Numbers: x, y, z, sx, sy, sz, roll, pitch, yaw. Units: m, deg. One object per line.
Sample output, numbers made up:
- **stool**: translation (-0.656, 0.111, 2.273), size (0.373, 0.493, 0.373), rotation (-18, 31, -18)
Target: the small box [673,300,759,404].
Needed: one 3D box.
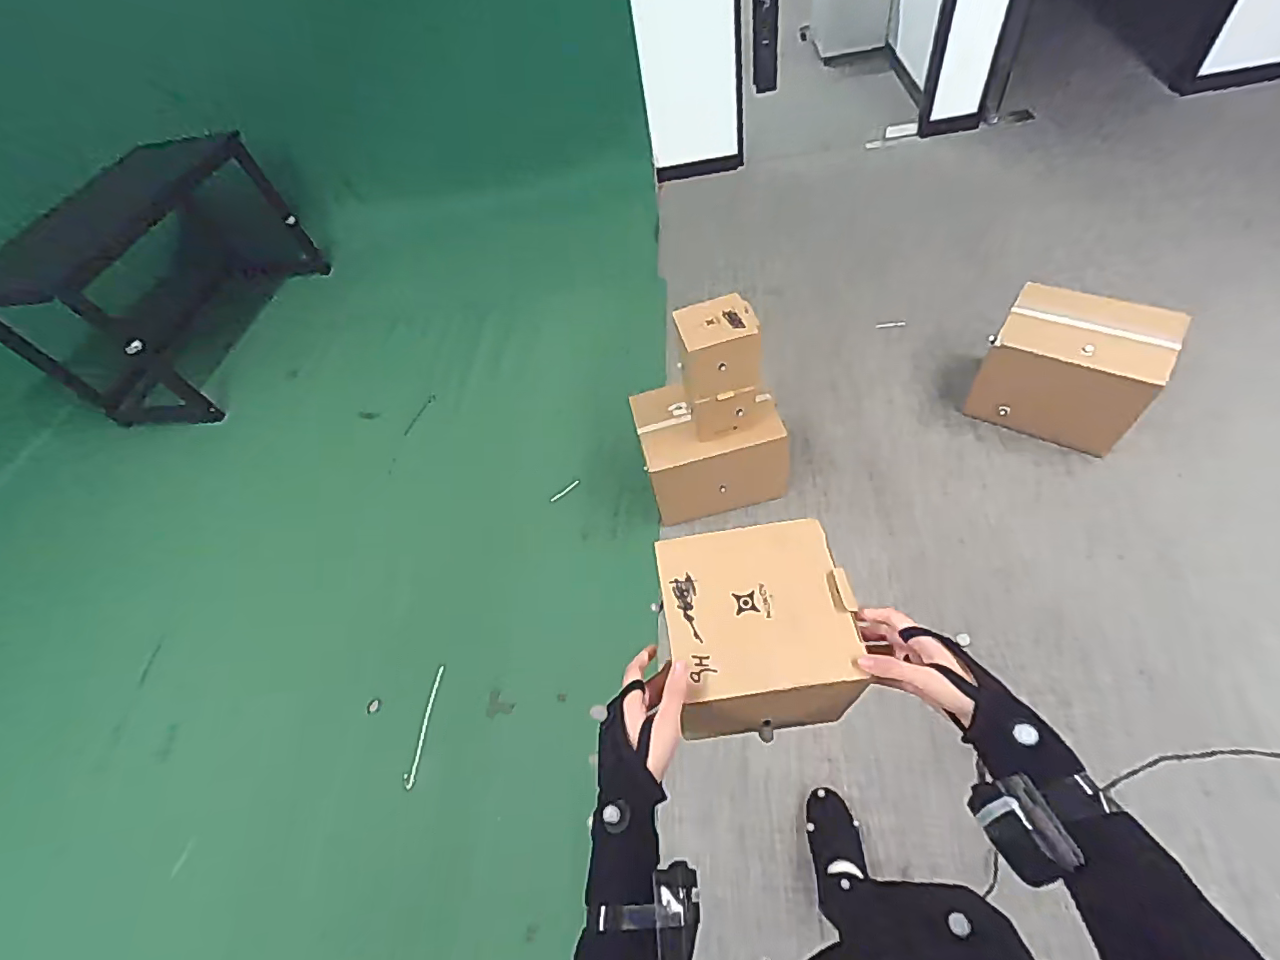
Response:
- **small box**: translation (0.193, -0.323, 1.377), size (0.179, 0.176, 0.168), rotation (-16, 53, 1)

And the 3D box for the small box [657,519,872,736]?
- **small box**: translation (0.114, 0.161, 0.577), size (0.179, 0.176, 0.168), rotation (-7, 52, 0)

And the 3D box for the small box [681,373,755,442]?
- **small box**: translation (0.219, -0.224, 1.505), size (0.168, 0.176, 0.179), rotation (-14, 52, 1)

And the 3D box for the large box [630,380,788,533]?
- **large box**: translation (0.219, -0.079, 1.708), size (0.408, 0.320, 0.320), rotation (-16, 51, 2)
